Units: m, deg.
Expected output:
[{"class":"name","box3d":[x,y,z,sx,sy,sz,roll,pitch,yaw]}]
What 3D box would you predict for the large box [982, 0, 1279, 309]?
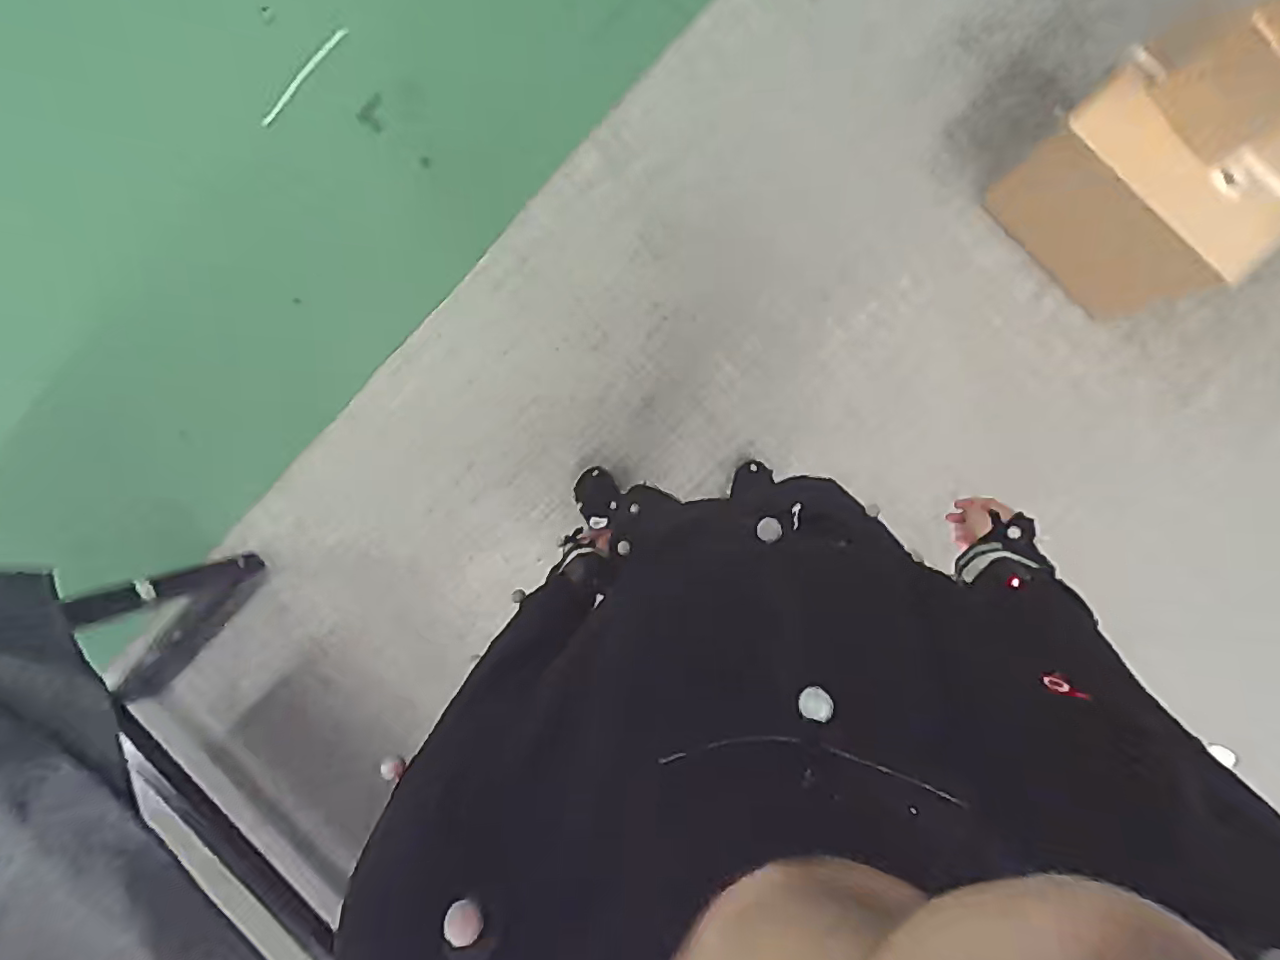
[{"class":"large box","box3d":[1.005,-0.616,1.068,0.408,0.320,0.320,44,98,0]}]
